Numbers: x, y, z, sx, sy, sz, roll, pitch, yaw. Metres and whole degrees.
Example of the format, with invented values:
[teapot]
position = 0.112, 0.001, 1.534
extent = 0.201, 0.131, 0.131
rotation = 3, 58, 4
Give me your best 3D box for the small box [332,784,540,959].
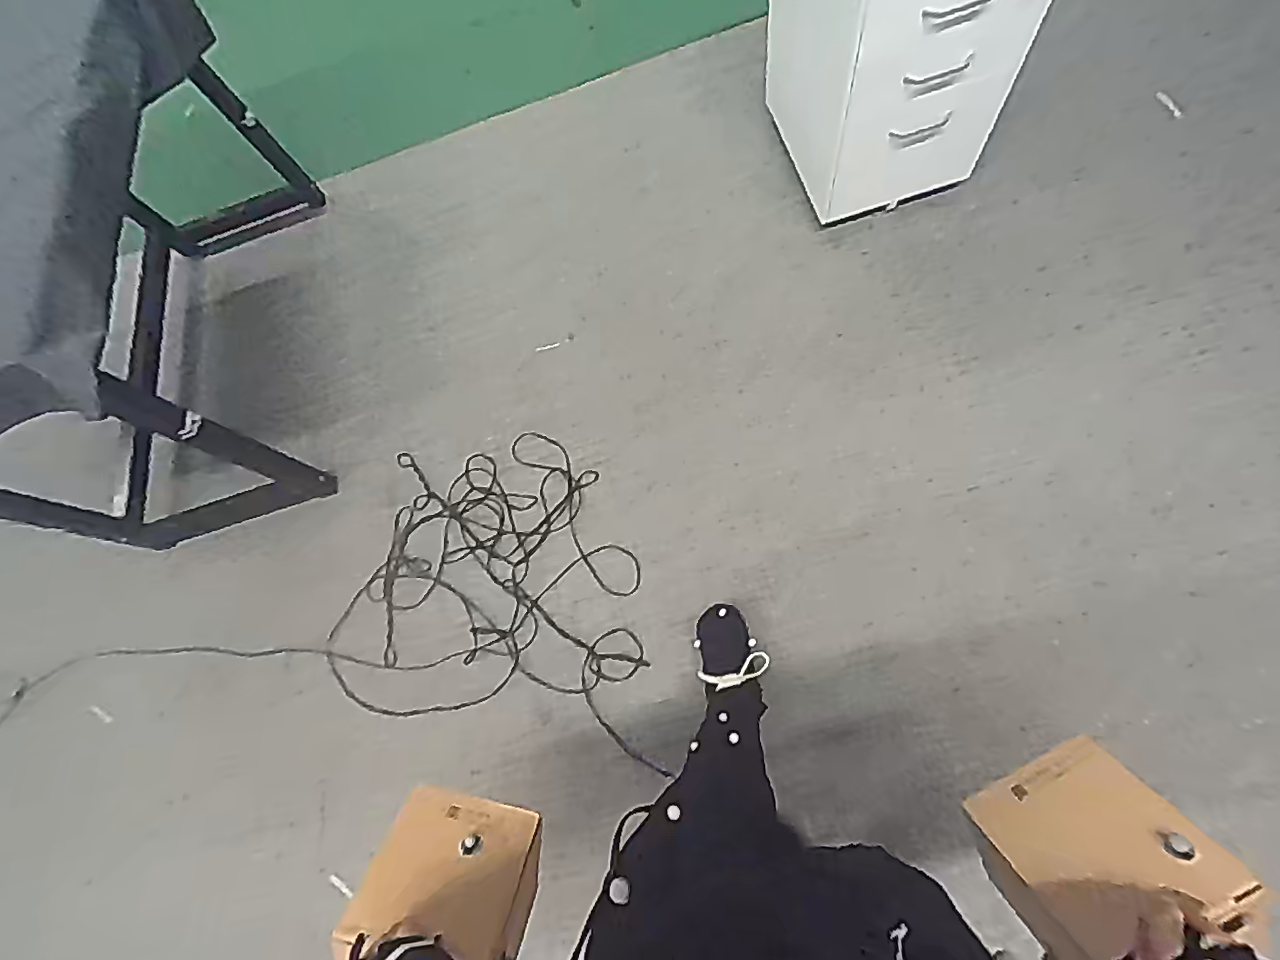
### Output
[small box]
position = -0.224, 0.504, 0.639
extent = 0.168, 0.176, 0.179
rotation = 11, 117, 6
